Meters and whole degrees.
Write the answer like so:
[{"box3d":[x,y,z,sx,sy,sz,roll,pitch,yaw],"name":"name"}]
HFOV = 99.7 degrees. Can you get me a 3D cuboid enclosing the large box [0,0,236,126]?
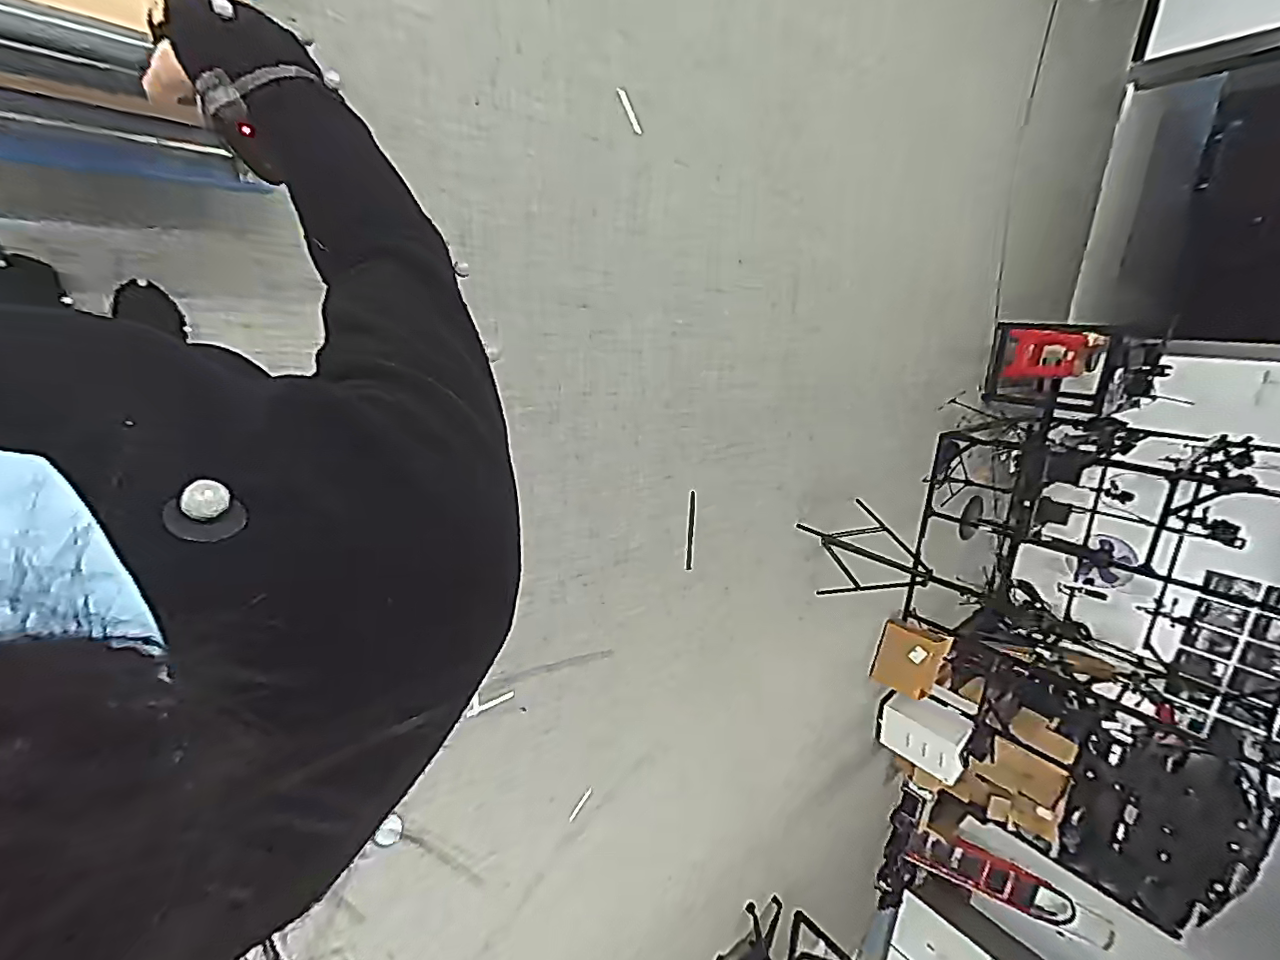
[{"box3d":[-0.793,-0.691,0.671,0.408,0.320,0.320,-13,113,-40],"name":"large box"}]
